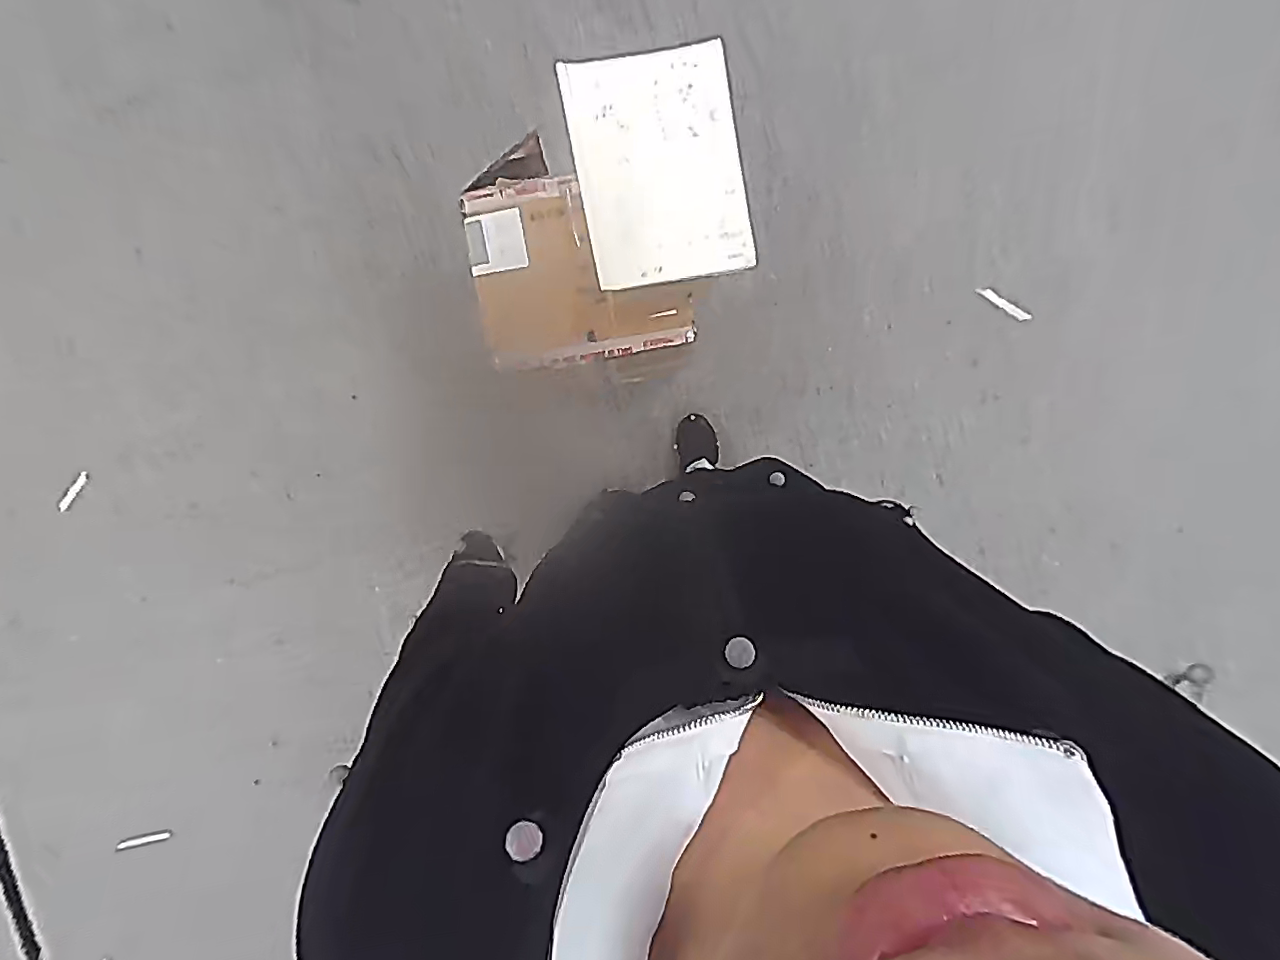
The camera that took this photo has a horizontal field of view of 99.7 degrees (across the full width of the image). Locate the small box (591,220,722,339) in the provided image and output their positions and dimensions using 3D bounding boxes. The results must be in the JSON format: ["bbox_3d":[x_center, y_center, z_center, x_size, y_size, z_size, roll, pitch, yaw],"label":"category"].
[{"bbox_3d":[0.024,-0.355,0.925,0.179,0.176,0.168,-16,94,0],"label":"small box"}]

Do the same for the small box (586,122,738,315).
[{"bbox_3d":[0.024,-0.353,0.761,0.168,0.176,0.179,-13,94,-1],"label":"small box"}]
